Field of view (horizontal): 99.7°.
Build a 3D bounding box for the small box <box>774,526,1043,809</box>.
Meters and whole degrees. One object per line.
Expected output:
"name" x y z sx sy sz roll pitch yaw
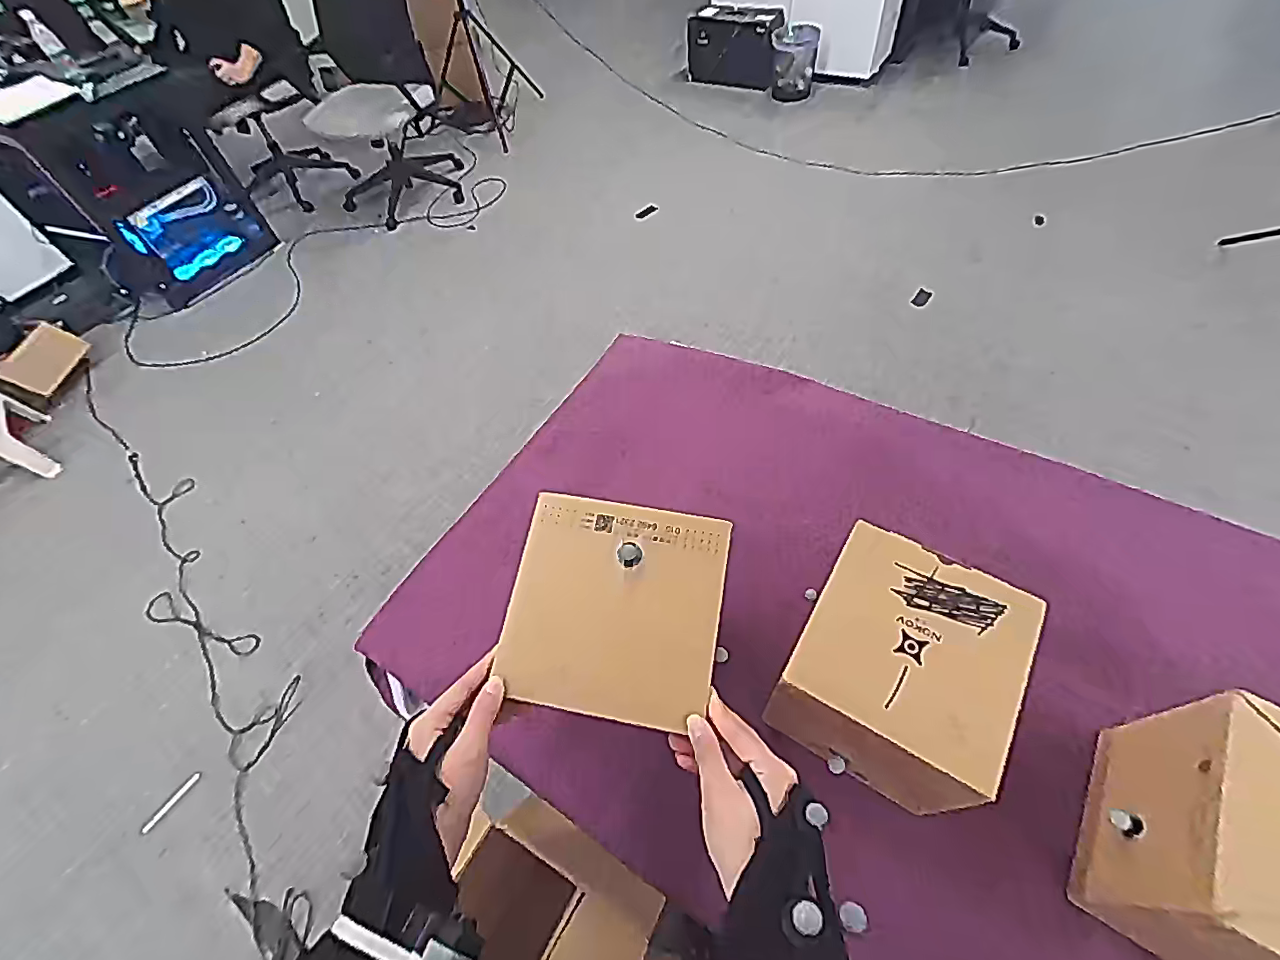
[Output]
"small box" 0.242 0.182 0.522 0.168 0.176 0.179 25 61 22
